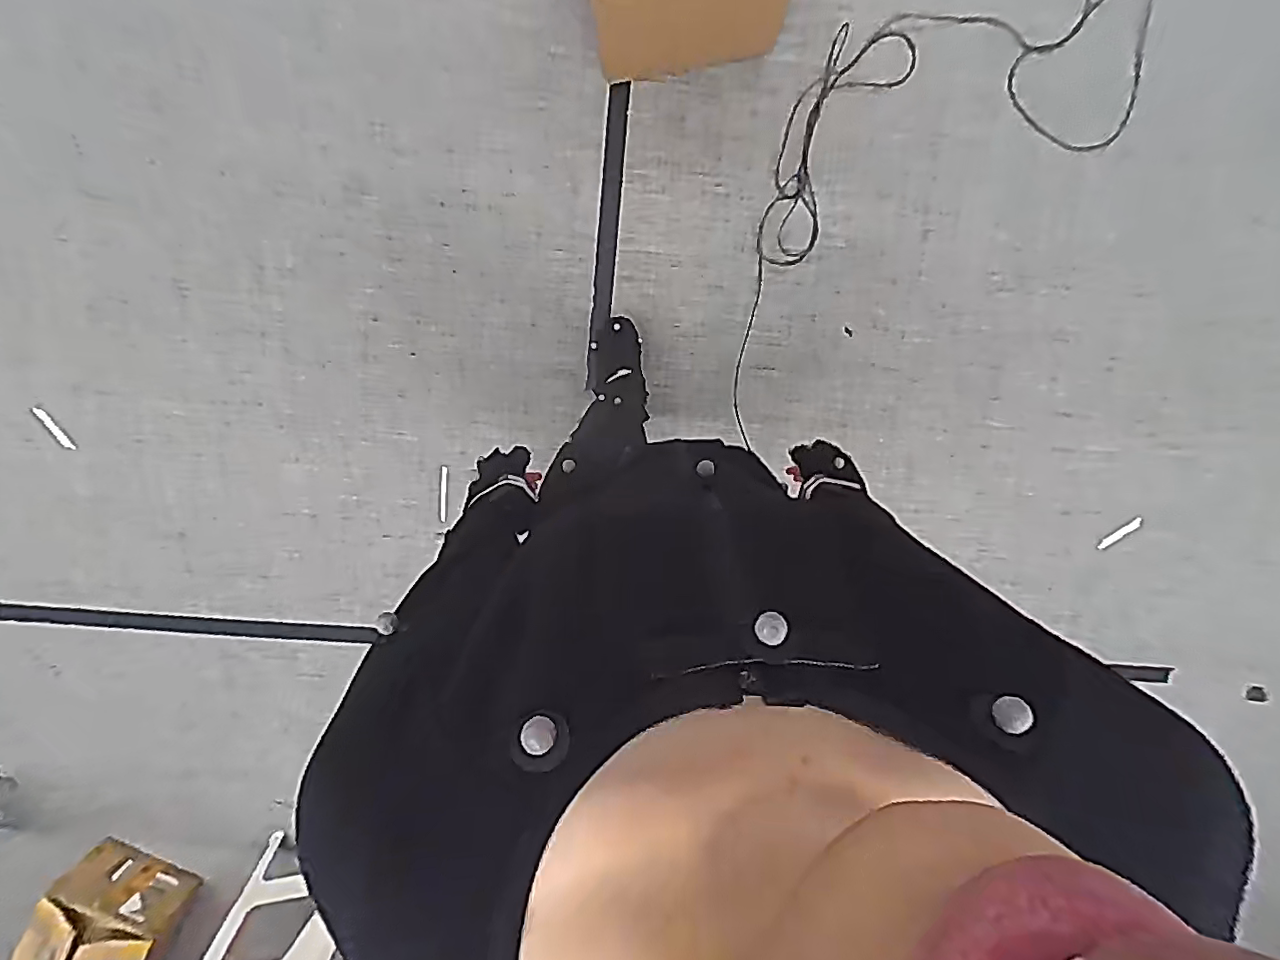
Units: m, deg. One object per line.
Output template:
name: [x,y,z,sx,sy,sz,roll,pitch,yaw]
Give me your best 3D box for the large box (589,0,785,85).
large box: [0.085,-1.122,1.146,0.408,0.320,0.320,-12,99,-1]
